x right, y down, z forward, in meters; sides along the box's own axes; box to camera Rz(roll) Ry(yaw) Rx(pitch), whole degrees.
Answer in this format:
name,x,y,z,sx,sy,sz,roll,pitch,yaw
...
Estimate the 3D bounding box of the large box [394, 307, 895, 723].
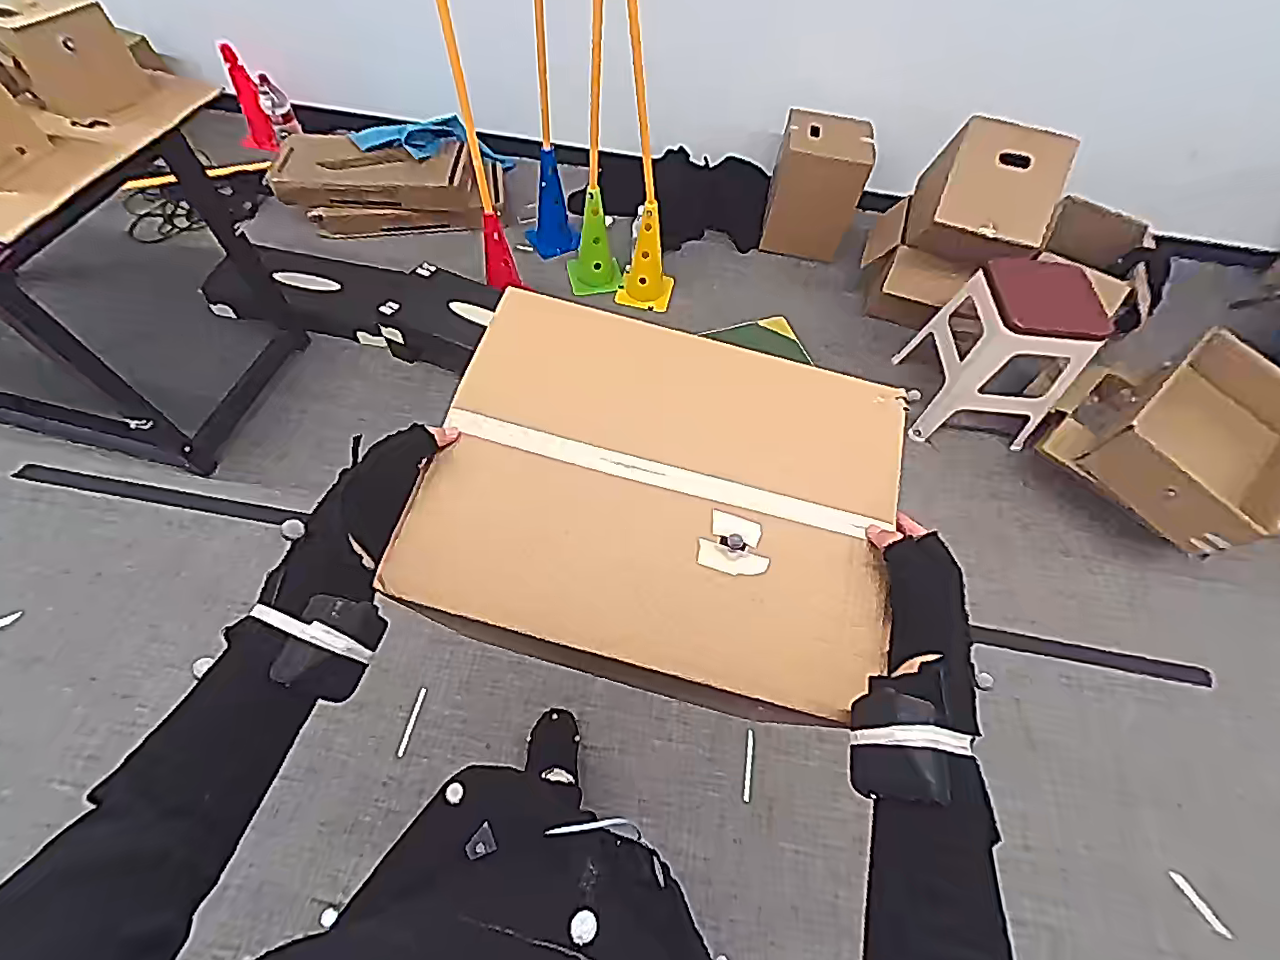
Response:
name,x,y,z,sx,sy,sz,roll,pitch,yaw
large box,0.013,0.064,0.621,0.408,0.320,0.320,16,68,1
